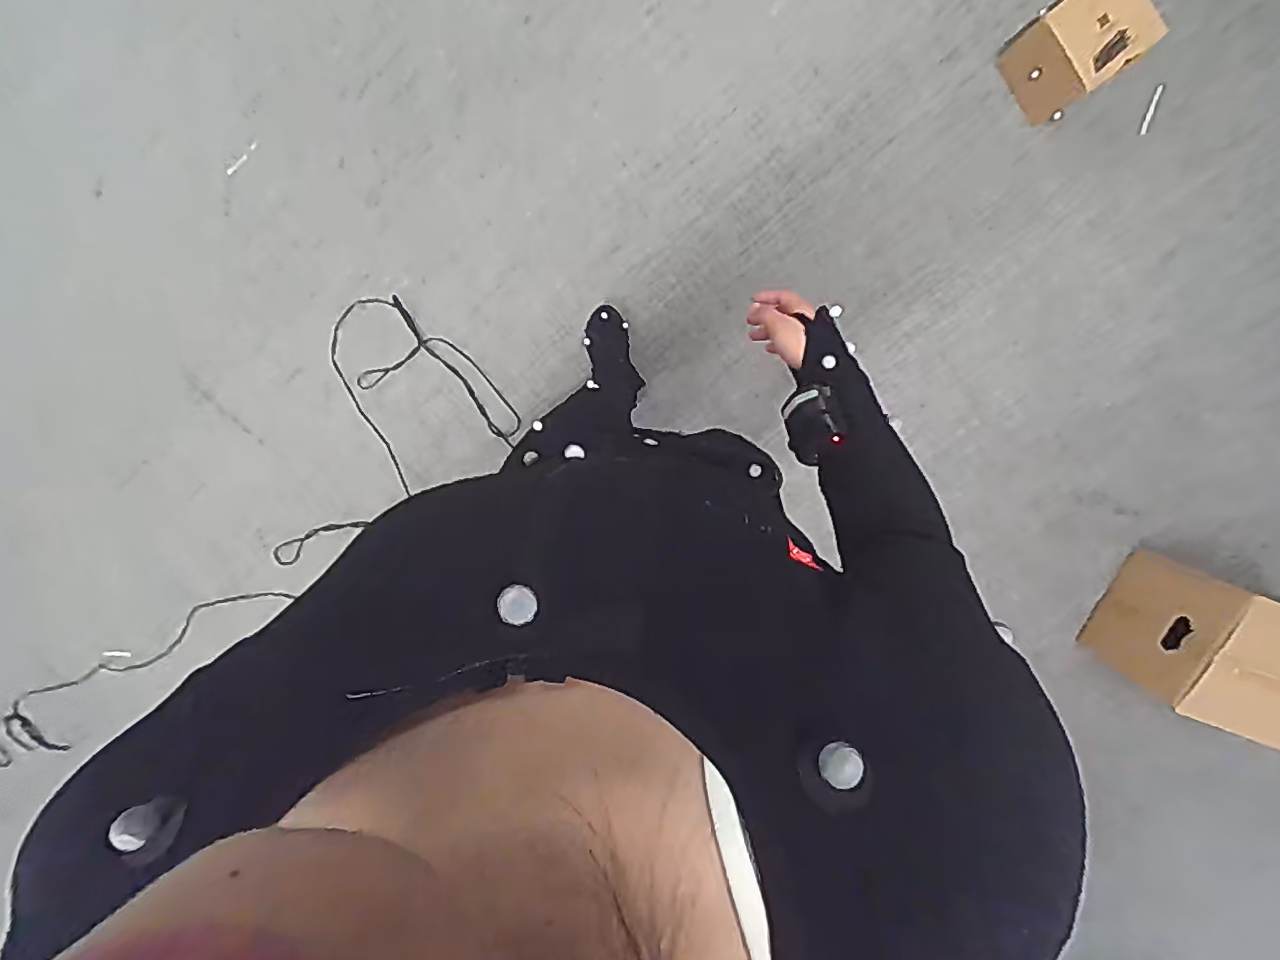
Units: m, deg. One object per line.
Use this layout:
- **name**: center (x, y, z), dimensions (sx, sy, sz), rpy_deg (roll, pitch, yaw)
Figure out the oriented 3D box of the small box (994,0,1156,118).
- **small box**: center (0.902, -0.906, 1.138), dimensions (0.168, 0.176, 0.179), rpy_deg (-37, 99, 11)
